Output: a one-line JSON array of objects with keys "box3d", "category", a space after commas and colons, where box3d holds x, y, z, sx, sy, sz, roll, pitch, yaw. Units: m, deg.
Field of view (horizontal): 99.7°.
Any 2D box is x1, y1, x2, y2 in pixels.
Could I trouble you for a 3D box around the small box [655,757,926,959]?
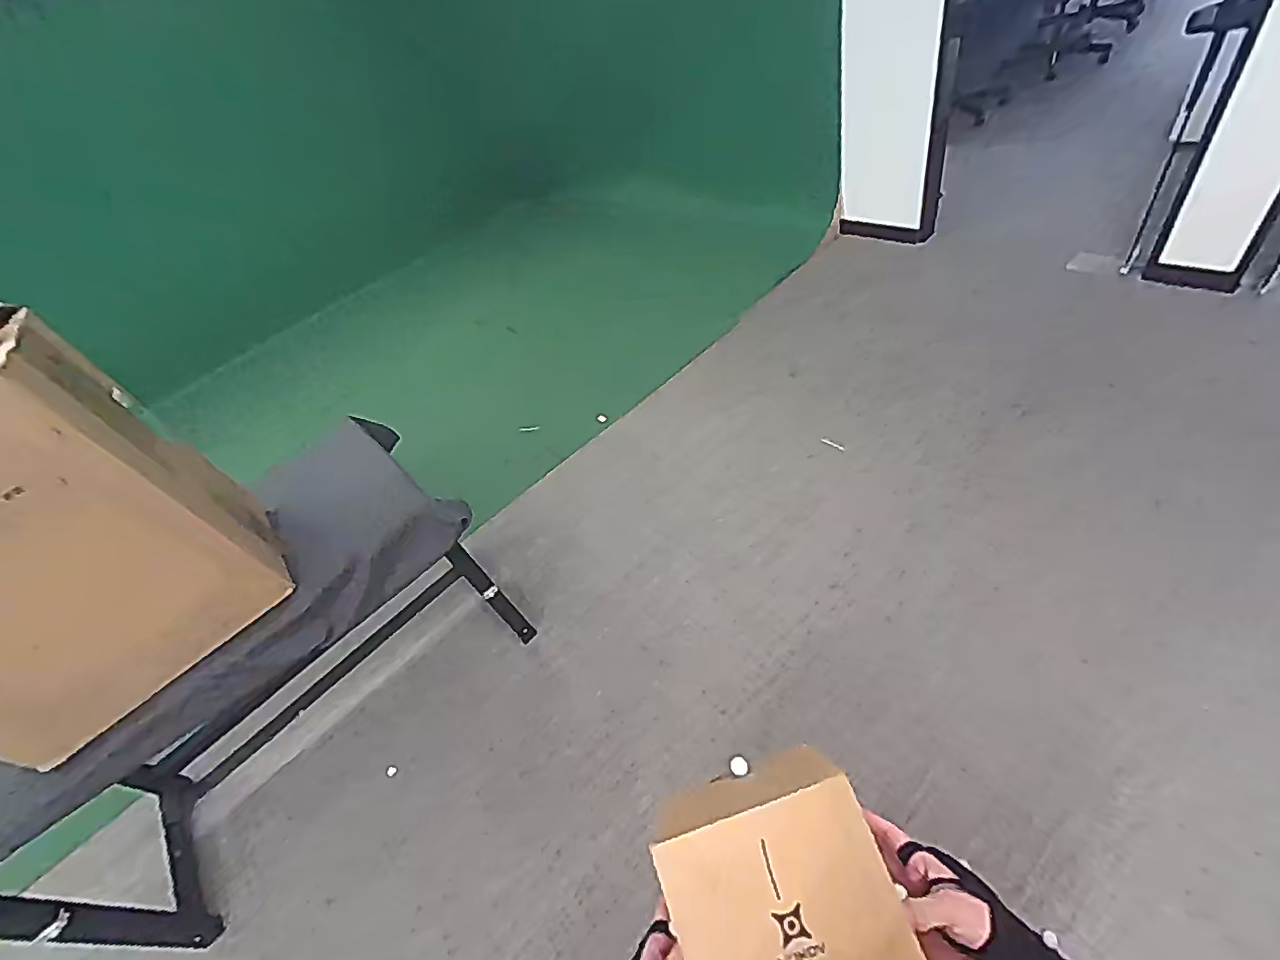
[{"box3d": [0.123, 0.363, 0.460, 0.168, 0.176, 0.179, -20, 69, -2], "category": "small box"}]
